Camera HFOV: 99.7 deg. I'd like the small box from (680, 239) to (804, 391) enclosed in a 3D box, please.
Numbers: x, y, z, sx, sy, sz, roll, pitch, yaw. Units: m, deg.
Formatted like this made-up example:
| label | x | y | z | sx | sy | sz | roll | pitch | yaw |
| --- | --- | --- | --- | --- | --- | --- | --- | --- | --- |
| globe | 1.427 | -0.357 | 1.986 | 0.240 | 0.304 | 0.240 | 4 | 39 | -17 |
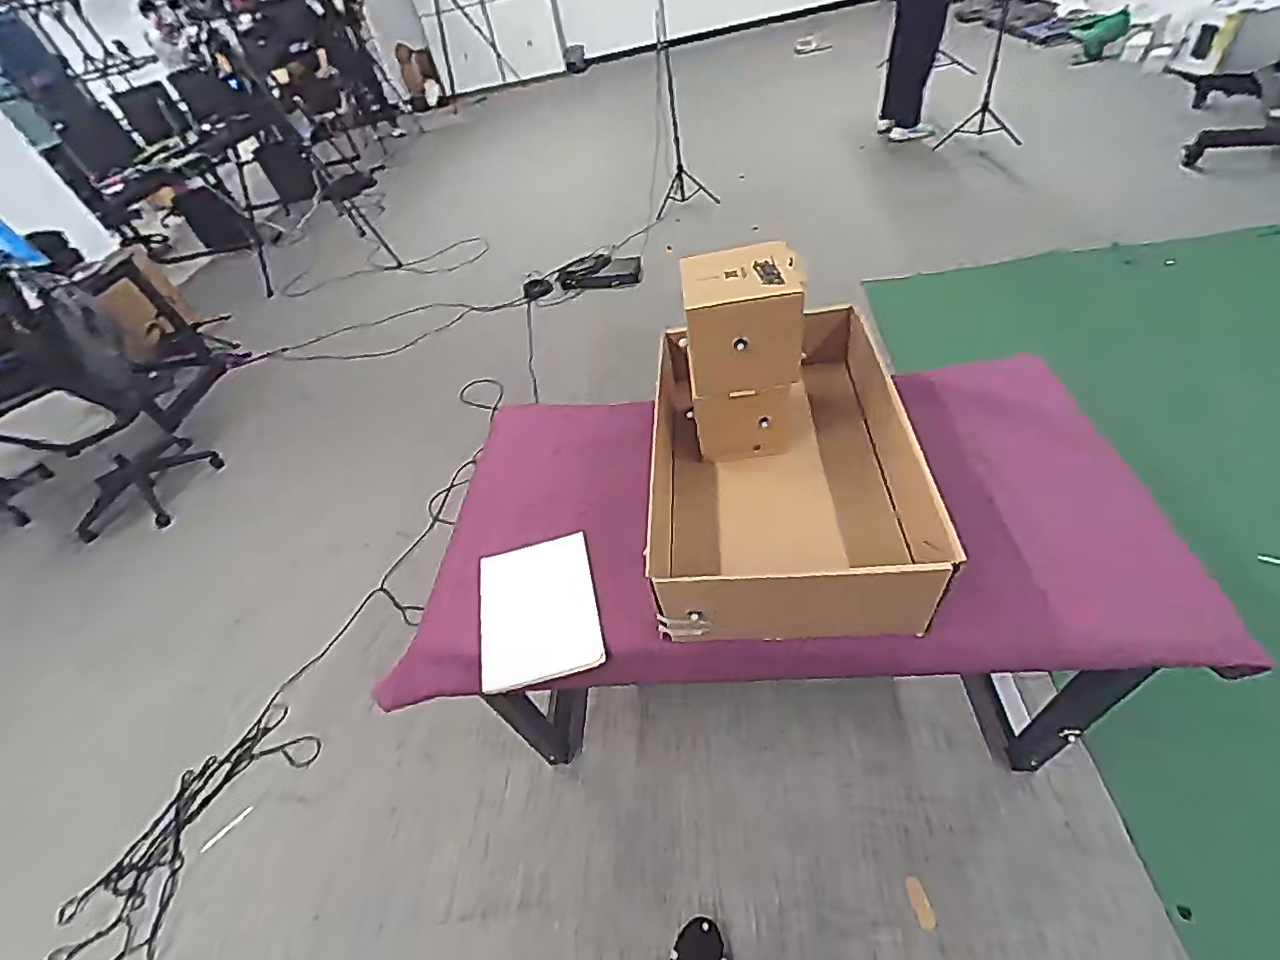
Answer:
| label | x | y | z | sx | sy | sz | roll | pitch | yaw |
| --- | --- | --- | --- | --- | --- | --- | --- | --- | --- |
| small box | 0.164 | -0.268 | 0.895 | 0.179 | 0.176 | 0.168 | -7 | 47 | 8 |
